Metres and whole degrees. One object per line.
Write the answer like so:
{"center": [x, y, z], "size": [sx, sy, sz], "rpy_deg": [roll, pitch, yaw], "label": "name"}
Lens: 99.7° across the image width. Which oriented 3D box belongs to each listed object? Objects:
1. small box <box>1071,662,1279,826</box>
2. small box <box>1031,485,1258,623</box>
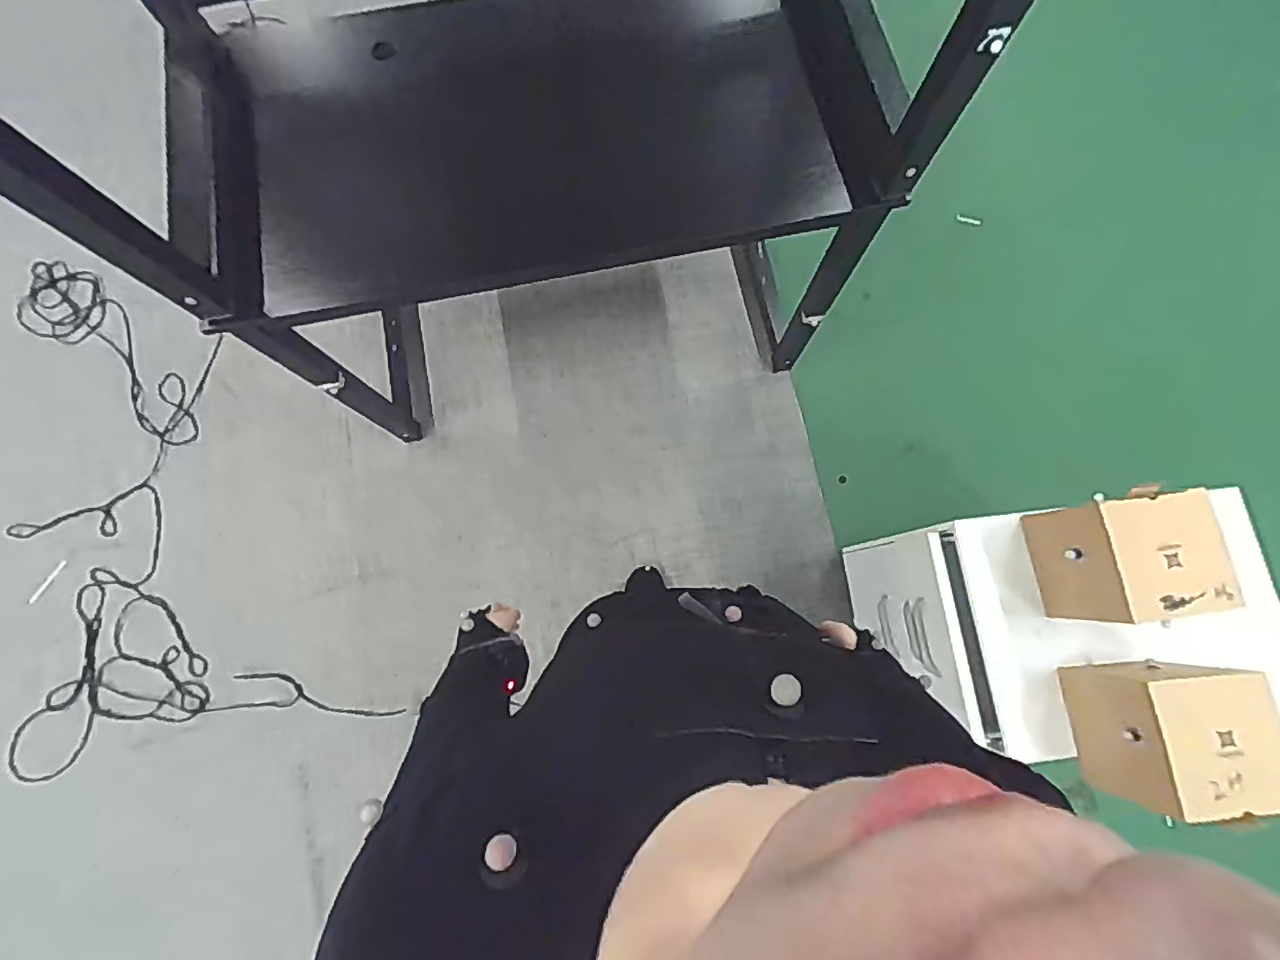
{"center": [0.768, 0.360, 0.772], "size": [0.168, 0.176, 0.179], "rpy_deg": [-5, 78, 0], "label": "small box"}
{"center": [0.747, 0.117, 0.826], "size": [0.168, 0.176, 0.179], "rpy_deg": [-8, 78, -1], "label": "small box"}
